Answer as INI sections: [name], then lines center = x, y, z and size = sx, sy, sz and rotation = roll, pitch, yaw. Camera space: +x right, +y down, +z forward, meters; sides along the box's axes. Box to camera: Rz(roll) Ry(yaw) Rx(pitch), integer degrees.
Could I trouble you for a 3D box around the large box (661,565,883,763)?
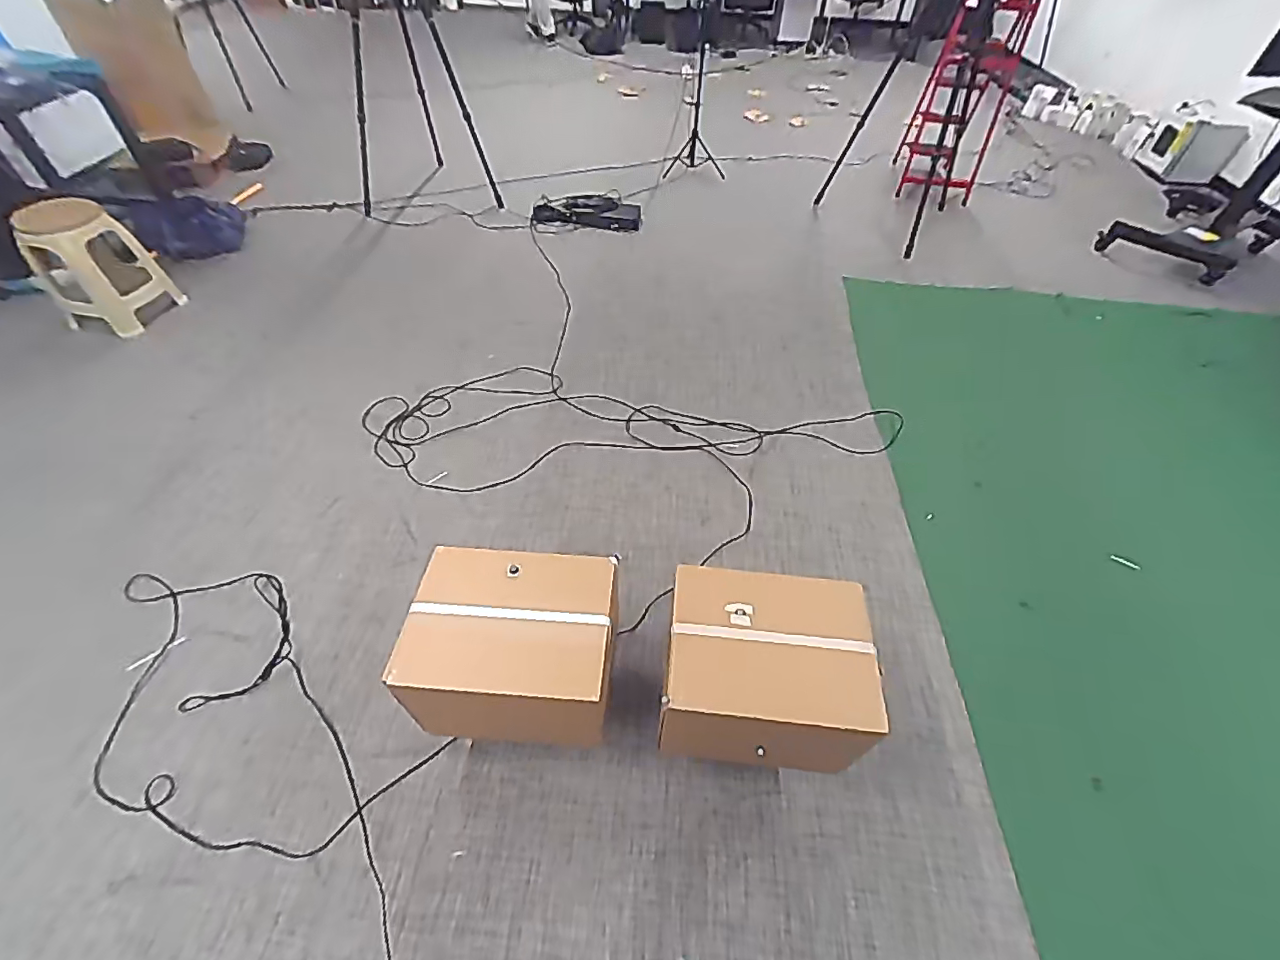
[large box]
center = 0.265, 0.416, 1.210
size = 0.408, 0.320, 0.320
rotation = 6, 49, 3
